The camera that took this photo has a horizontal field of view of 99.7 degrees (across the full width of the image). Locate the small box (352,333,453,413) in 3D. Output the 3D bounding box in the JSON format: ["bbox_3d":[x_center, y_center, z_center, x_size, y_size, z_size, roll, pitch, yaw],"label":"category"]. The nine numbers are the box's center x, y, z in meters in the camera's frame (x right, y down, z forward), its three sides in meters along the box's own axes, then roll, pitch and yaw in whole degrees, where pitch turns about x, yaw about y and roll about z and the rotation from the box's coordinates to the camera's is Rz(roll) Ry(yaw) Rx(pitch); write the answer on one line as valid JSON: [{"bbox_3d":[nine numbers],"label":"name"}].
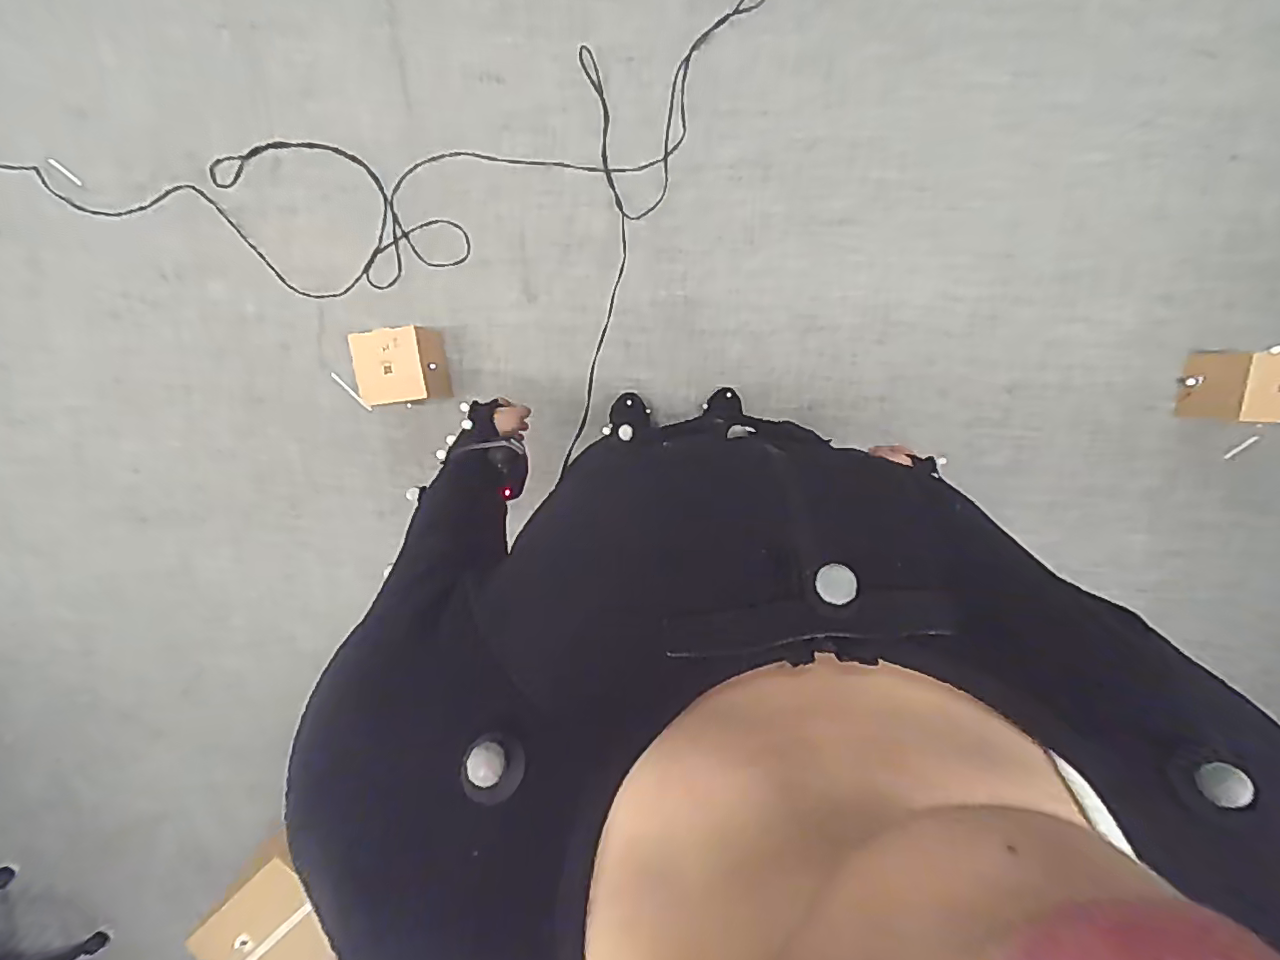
[{"bbox_3d":[-0.592,-0.269,1.371,0.168,0.176,0.179,-7,99,3],"label":"small box"}]

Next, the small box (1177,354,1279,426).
[{"bbox_3d":[1.518,-0.223,1.348,0.179,0.176,0.168,2,99,2],"label":"small box"}]
